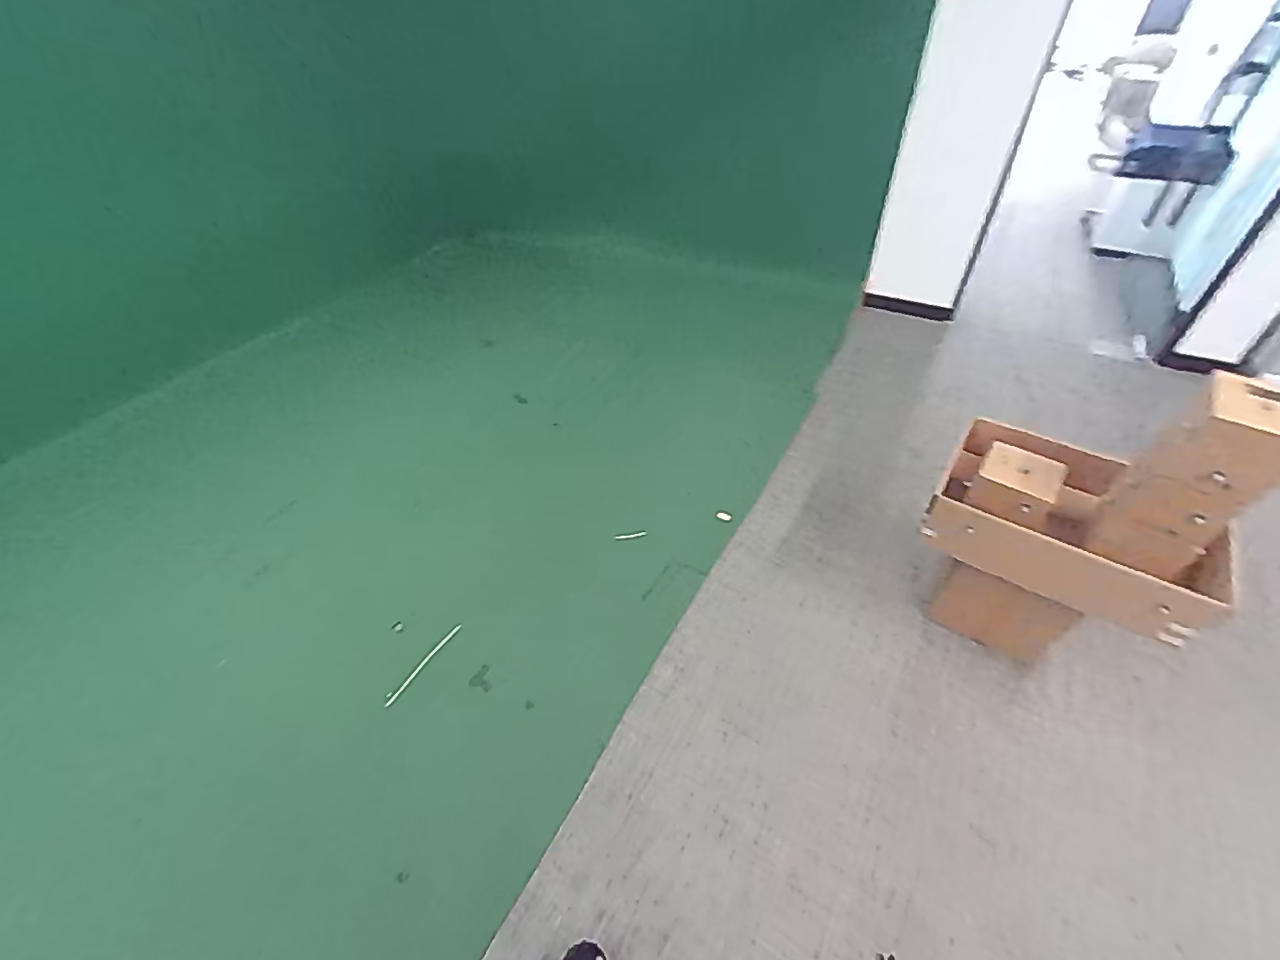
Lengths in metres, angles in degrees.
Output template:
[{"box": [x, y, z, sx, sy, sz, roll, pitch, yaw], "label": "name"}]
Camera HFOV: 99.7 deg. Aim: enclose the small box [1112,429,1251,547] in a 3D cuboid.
[{"box": [1.222, 0.020, 1.230, 0.168, 0.176, 0.179, 26, 53, 25], "label": "small box"}]
